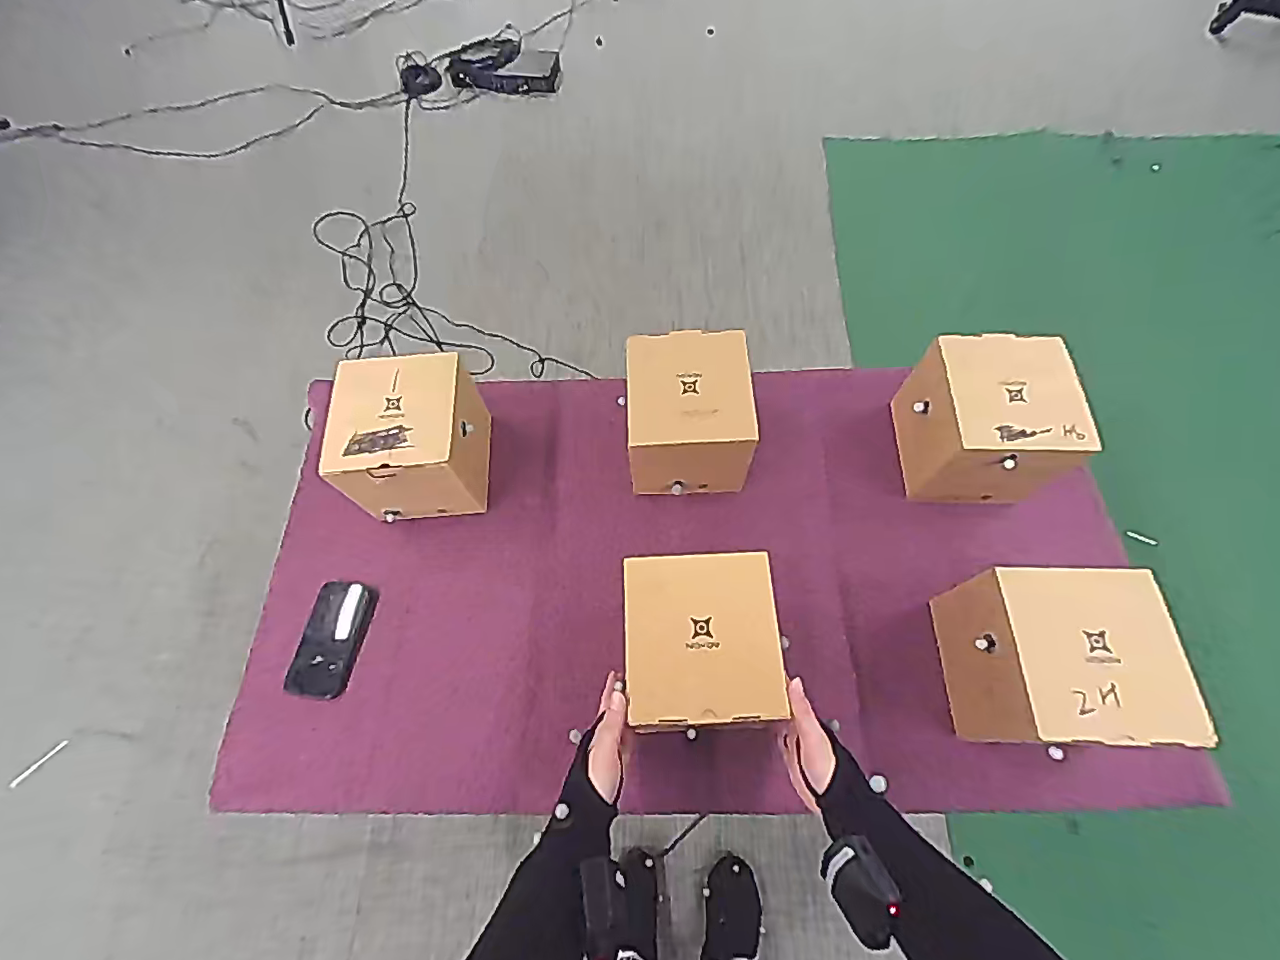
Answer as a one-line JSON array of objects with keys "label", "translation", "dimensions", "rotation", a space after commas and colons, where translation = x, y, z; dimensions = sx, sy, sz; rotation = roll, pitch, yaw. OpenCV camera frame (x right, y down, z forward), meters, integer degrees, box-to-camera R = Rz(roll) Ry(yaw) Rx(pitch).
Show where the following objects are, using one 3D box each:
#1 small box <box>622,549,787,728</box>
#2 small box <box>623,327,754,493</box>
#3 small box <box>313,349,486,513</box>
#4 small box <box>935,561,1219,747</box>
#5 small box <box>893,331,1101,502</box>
[{"label": "small box", "translation": [0.063, 0.193, 0.639], "dimensions": [0.168, 0.176, 0.179], "rotation": [-3, 65, 1]}, {"label": "small box", "translation": [0.062, -0.095, 0.775], "dimensions": [0.168, 0.176, 0.179], "rotation": [-2, 66, 2]}, {"label": "small box", "translation": [-0.325, -0.060, 0.772], "dimensions": [0.168, 0.176, 0.179], "rotation": [-5, 64, -1]}, {"label": "small box", "translation": [0.463, 0.202, 0.614], "dimensions": [0.168, 0.176, 0.179], "rotation": [0, 65, 4]}, {"label": "small box", "translation": [0.473, -0.084, 0.753], "dimensions": [0.168, 0.176, 0.179], "rotation": [1, 64, 4]}]
